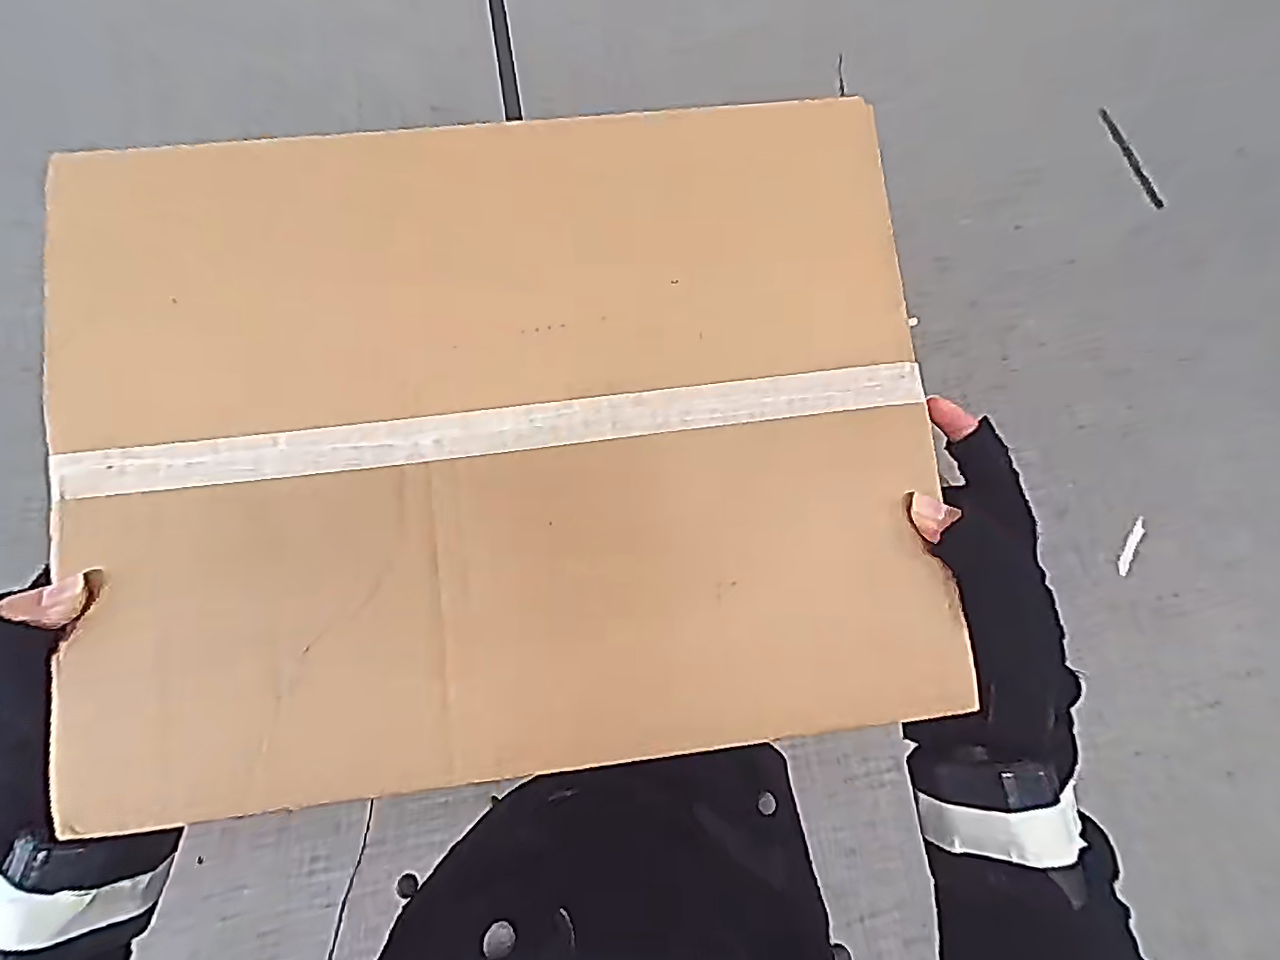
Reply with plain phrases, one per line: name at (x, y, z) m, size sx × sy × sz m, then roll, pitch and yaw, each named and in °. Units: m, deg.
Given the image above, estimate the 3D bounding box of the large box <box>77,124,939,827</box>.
large box at (-0.071, -0.004, 0.416) m, size 0.408 × 0.320 × 0.320 m, roll -7°, pitch 83°, yaw -3°
